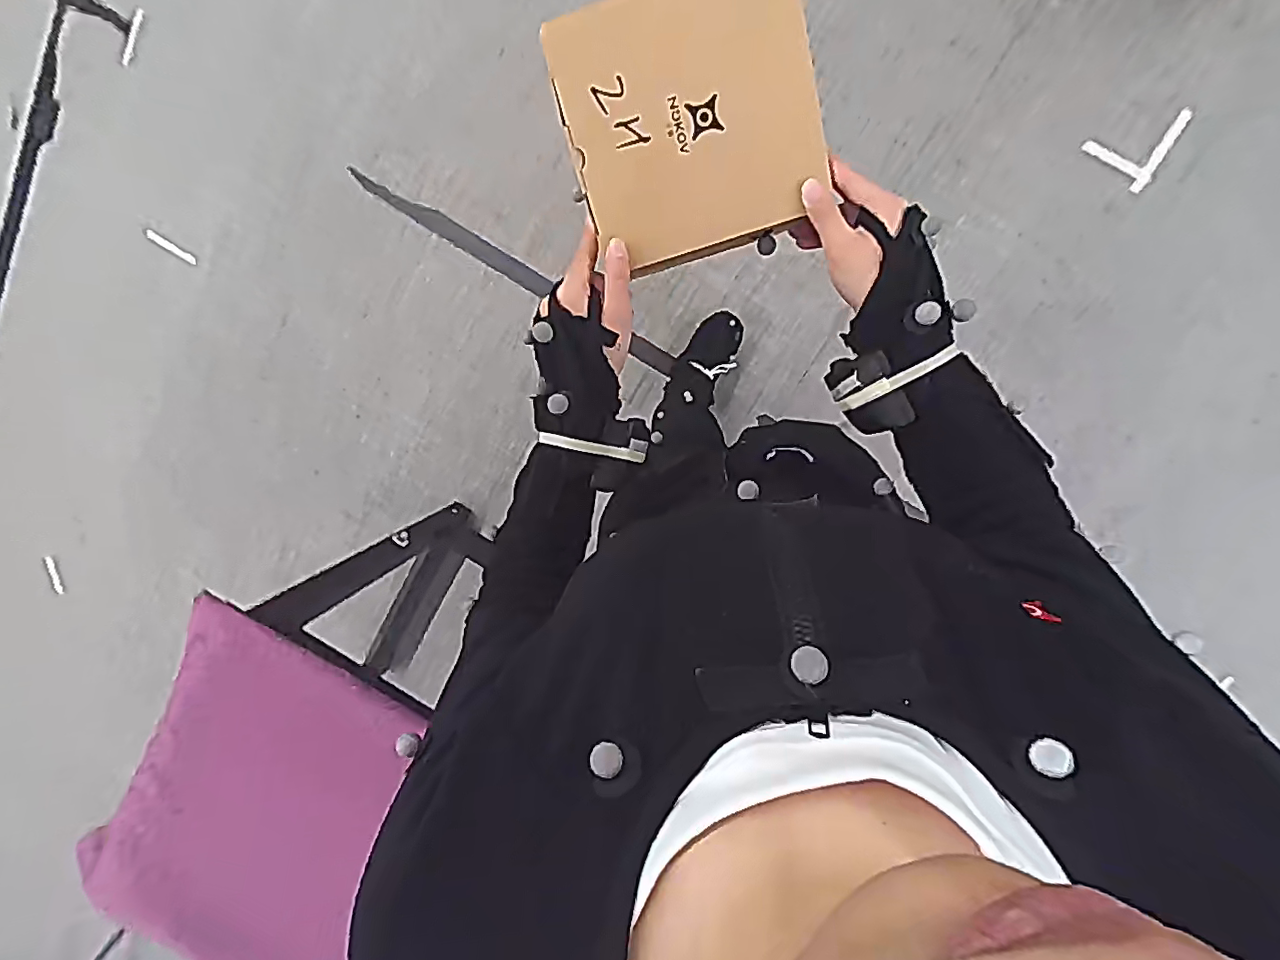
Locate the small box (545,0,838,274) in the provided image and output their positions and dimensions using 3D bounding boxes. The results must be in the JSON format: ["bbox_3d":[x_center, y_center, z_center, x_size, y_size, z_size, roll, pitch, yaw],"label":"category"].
[{"bbox_3d":[0.039,-0.280,0.450,0.179,0.176,0.168,-15,107,5],"label":"small box"}]
